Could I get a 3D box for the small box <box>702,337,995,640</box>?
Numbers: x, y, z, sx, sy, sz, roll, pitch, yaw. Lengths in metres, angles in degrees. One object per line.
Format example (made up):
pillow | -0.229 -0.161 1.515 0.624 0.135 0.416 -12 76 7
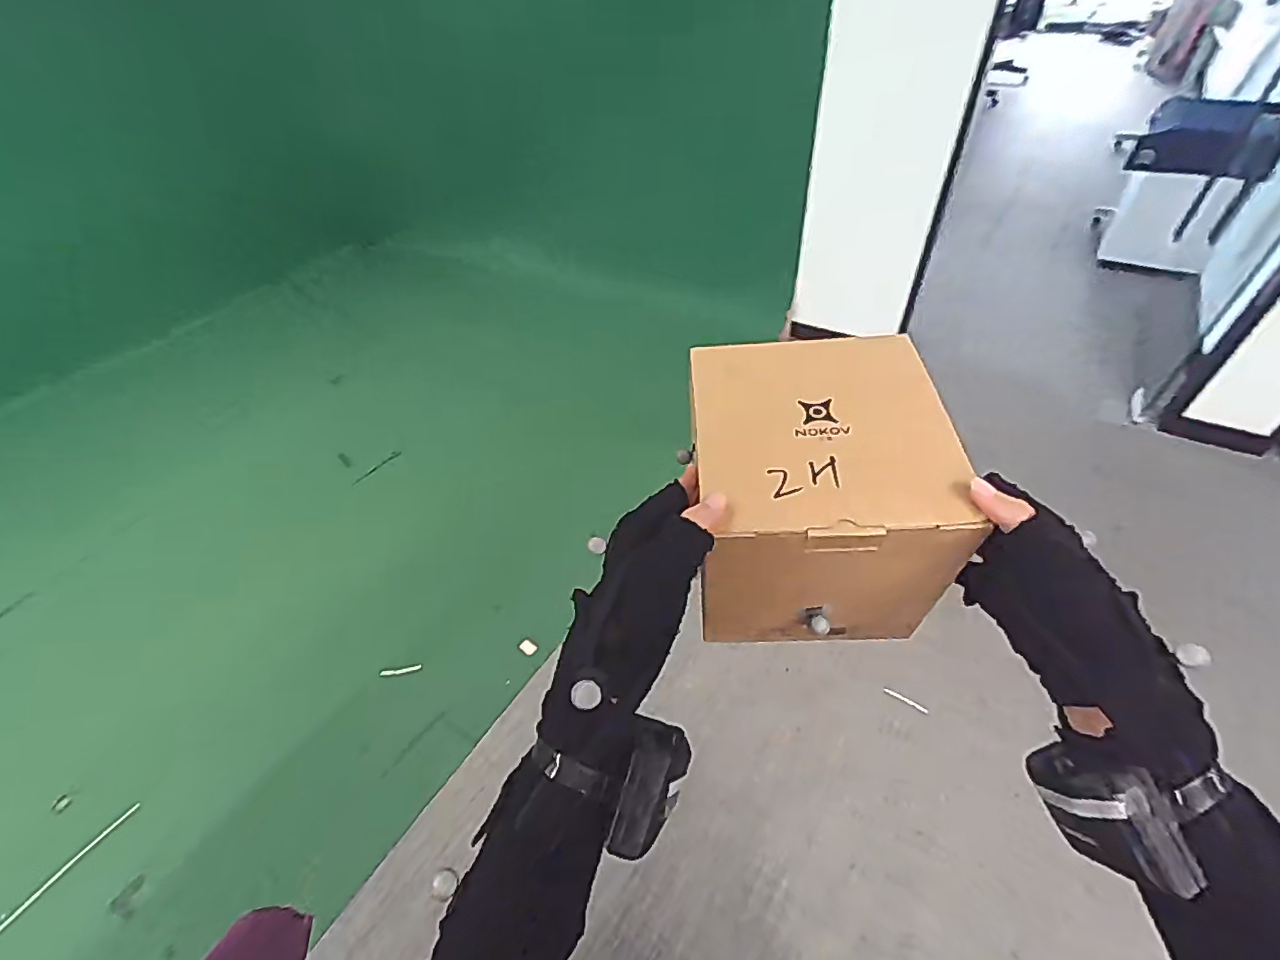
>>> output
small box | 0.134 0.010 0.431 0.168 0.176 0.179 -2 52 6
